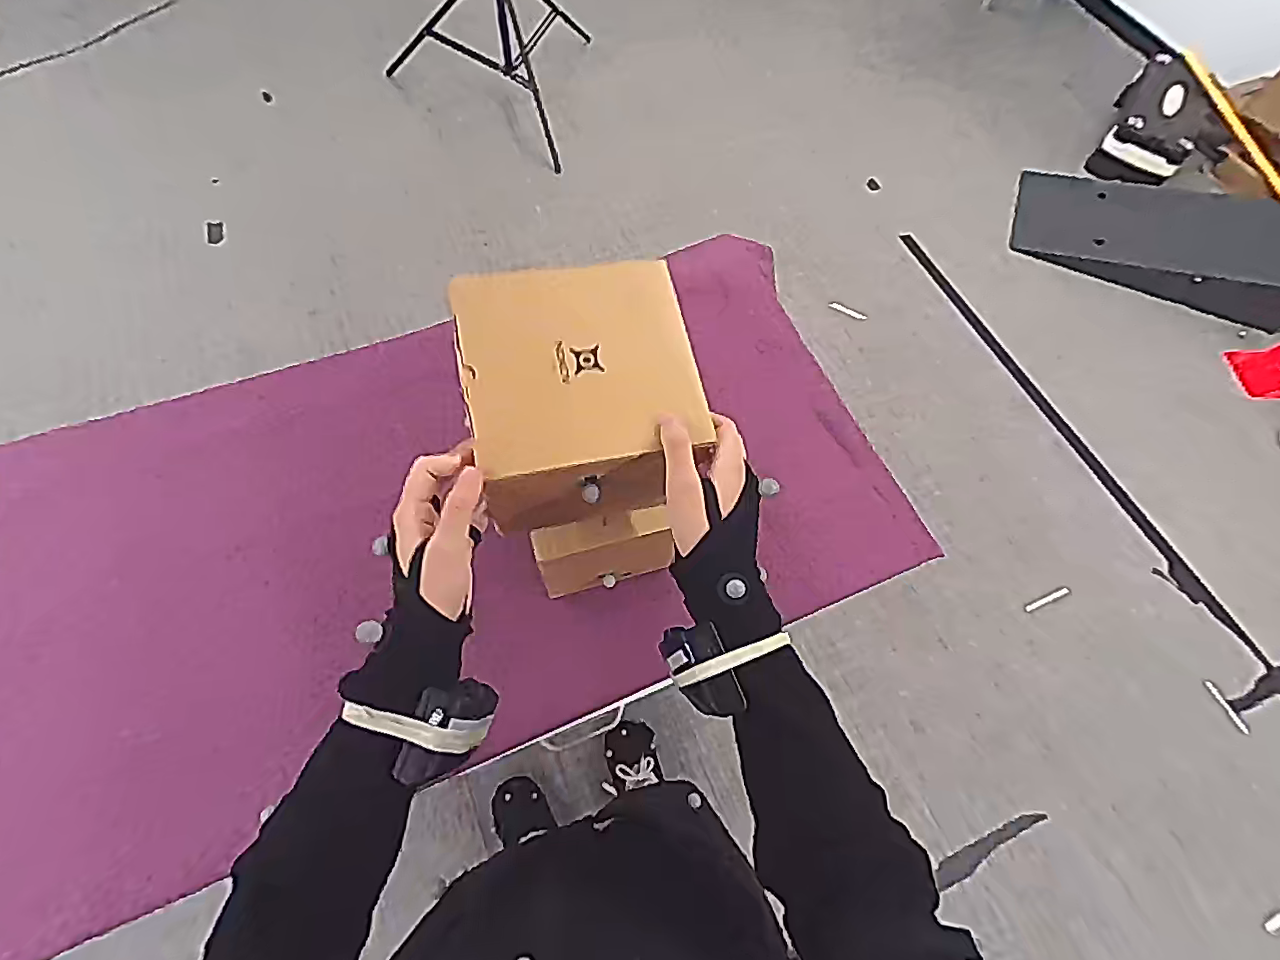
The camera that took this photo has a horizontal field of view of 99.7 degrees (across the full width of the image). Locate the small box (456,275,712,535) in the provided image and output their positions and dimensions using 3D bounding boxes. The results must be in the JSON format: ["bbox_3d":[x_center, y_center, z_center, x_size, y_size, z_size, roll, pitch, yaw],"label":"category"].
[{"bbox_3d":[-0.055,-0.058,0.491,0.179,0.176,0.168,-10,73,-11],"label":"small box"}]

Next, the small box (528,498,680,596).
[{"bbox_3d":[-0.061,0.029,0.683,0.168,0.176,0.179,-14,67,-9],"label":"small box"}]
